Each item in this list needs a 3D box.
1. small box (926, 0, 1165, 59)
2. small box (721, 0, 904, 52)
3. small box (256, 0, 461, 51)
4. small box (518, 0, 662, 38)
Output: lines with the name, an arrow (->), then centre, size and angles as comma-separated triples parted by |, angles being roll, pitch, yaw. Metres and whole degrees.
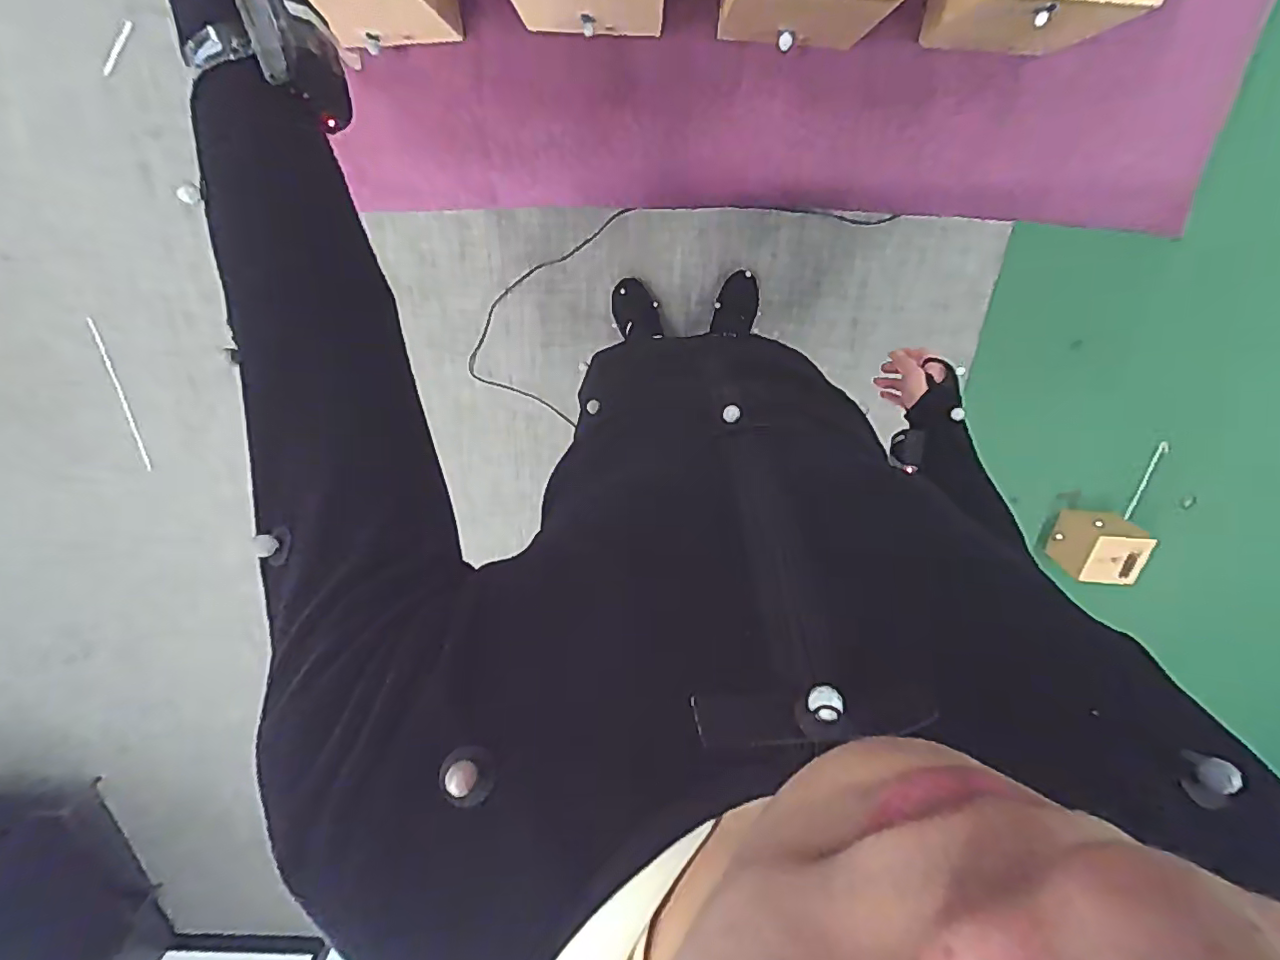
small box -> 0.425, -0.568, 0.553 | 0.168, 0.176, 0.179 | 4, 115, 0
small box -> 0.181, -0.577, 0.554 | 0.168, 0.176, 0.179 | 4, 116, -1
small box -> -0.304, -0.582, 0.563 | 0.168, 0.176, 0.179 | -2, 116, 3
small box -> -0.055, -0.591, 0.553 | 0.168, 0.176, 0.179 | 3, 116, 0
